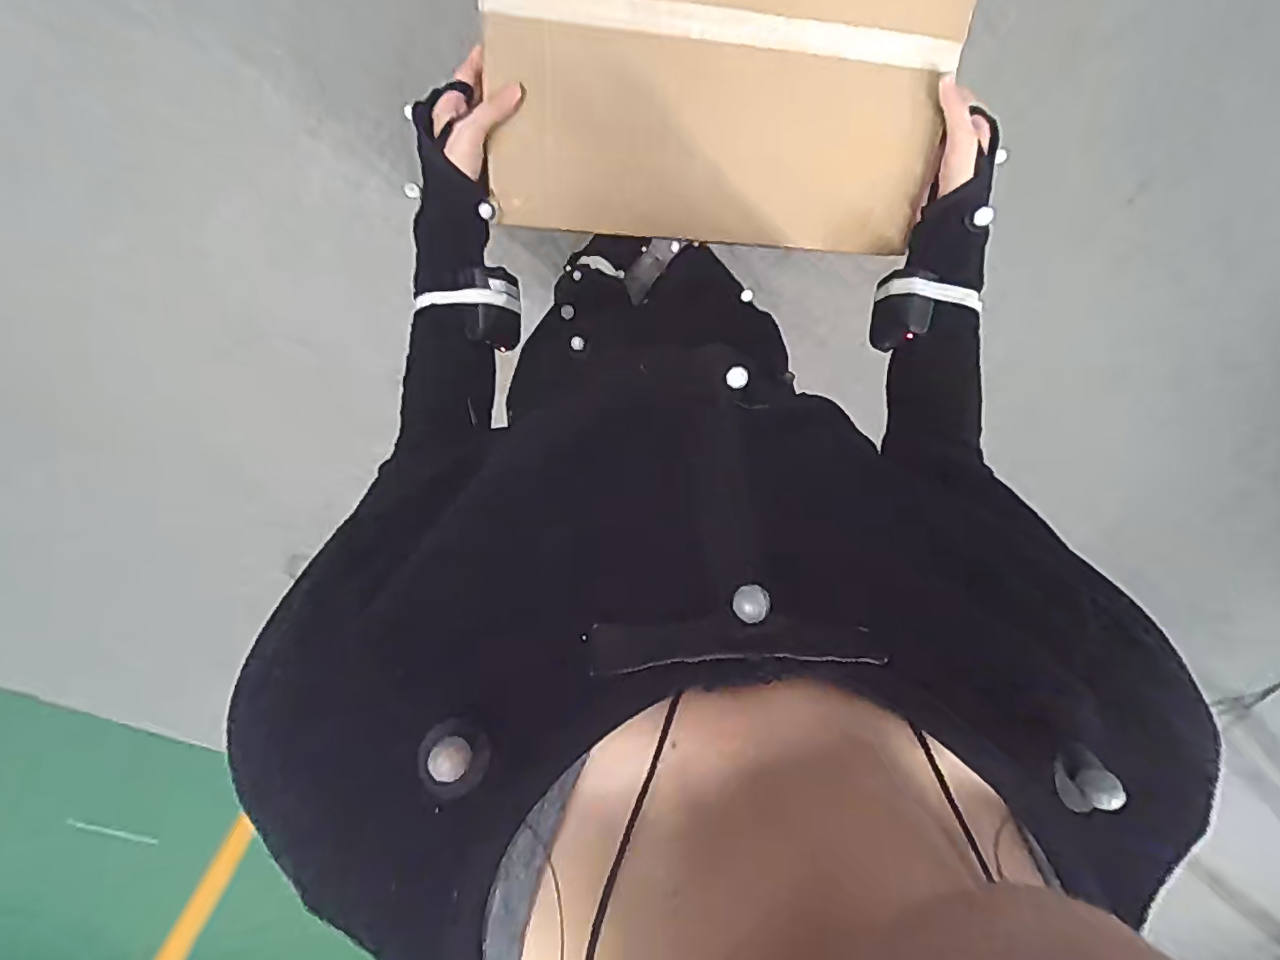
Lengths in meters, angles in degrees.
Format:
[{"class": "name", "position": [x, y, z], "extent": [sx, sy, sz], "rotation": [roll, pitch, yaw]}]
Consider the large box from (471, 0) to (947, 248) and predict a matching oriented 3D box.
[{"class": "large box", "position": [0.046, -0.437, 0.586], "extent": [0.408, 0.320, 0.320], "rotation": [-1, 116, -8]}]
